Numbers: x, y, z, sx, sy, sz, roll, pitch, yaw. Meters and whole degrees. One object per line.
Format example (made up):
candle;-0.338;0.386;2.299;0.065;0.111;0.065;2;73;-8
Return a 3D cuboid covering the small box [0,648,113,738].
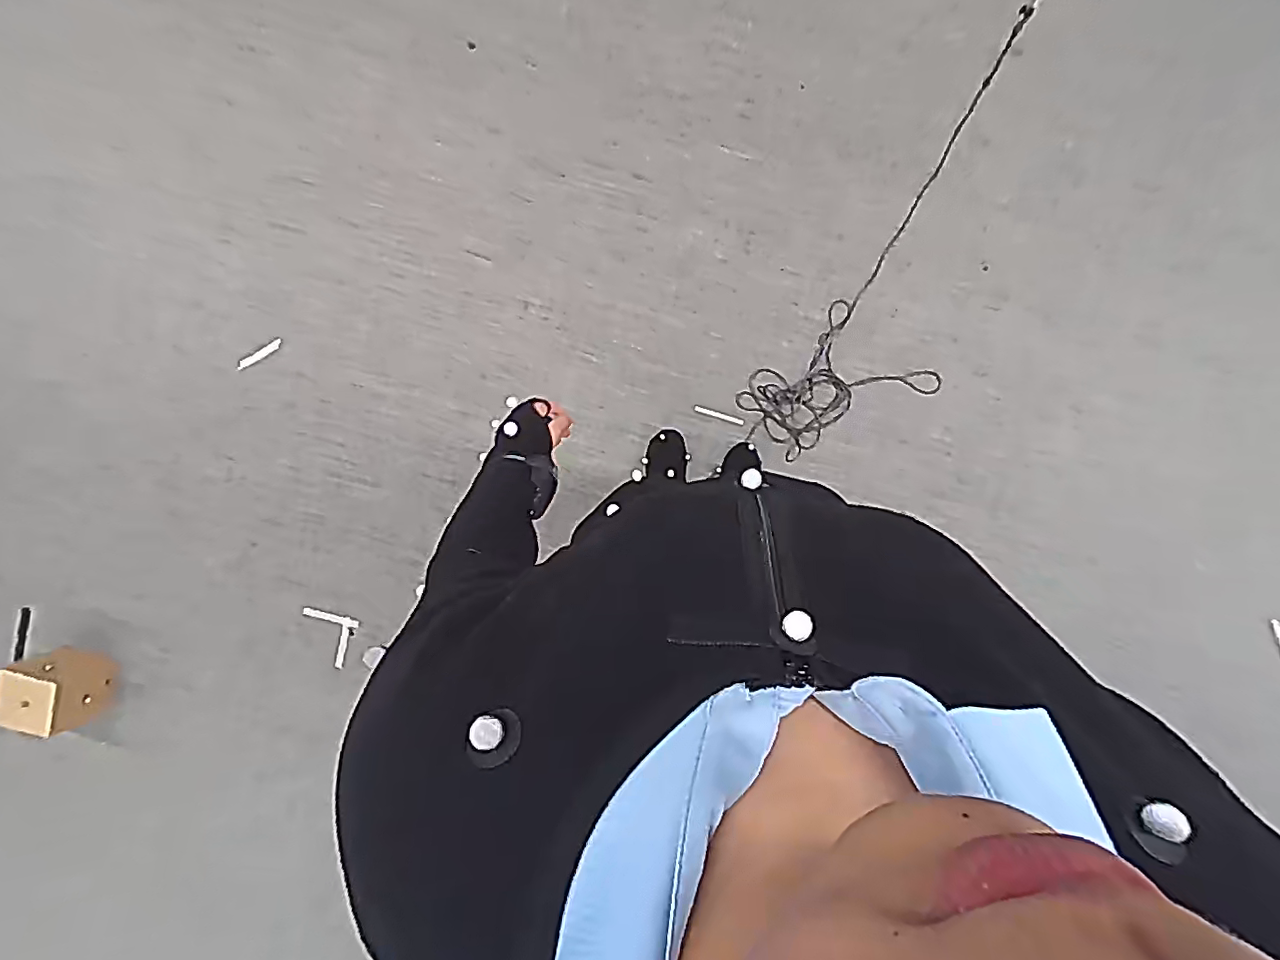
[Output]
small box;-1.700;0.611;1.572;0.179;0.176;0.168;15;95;3
